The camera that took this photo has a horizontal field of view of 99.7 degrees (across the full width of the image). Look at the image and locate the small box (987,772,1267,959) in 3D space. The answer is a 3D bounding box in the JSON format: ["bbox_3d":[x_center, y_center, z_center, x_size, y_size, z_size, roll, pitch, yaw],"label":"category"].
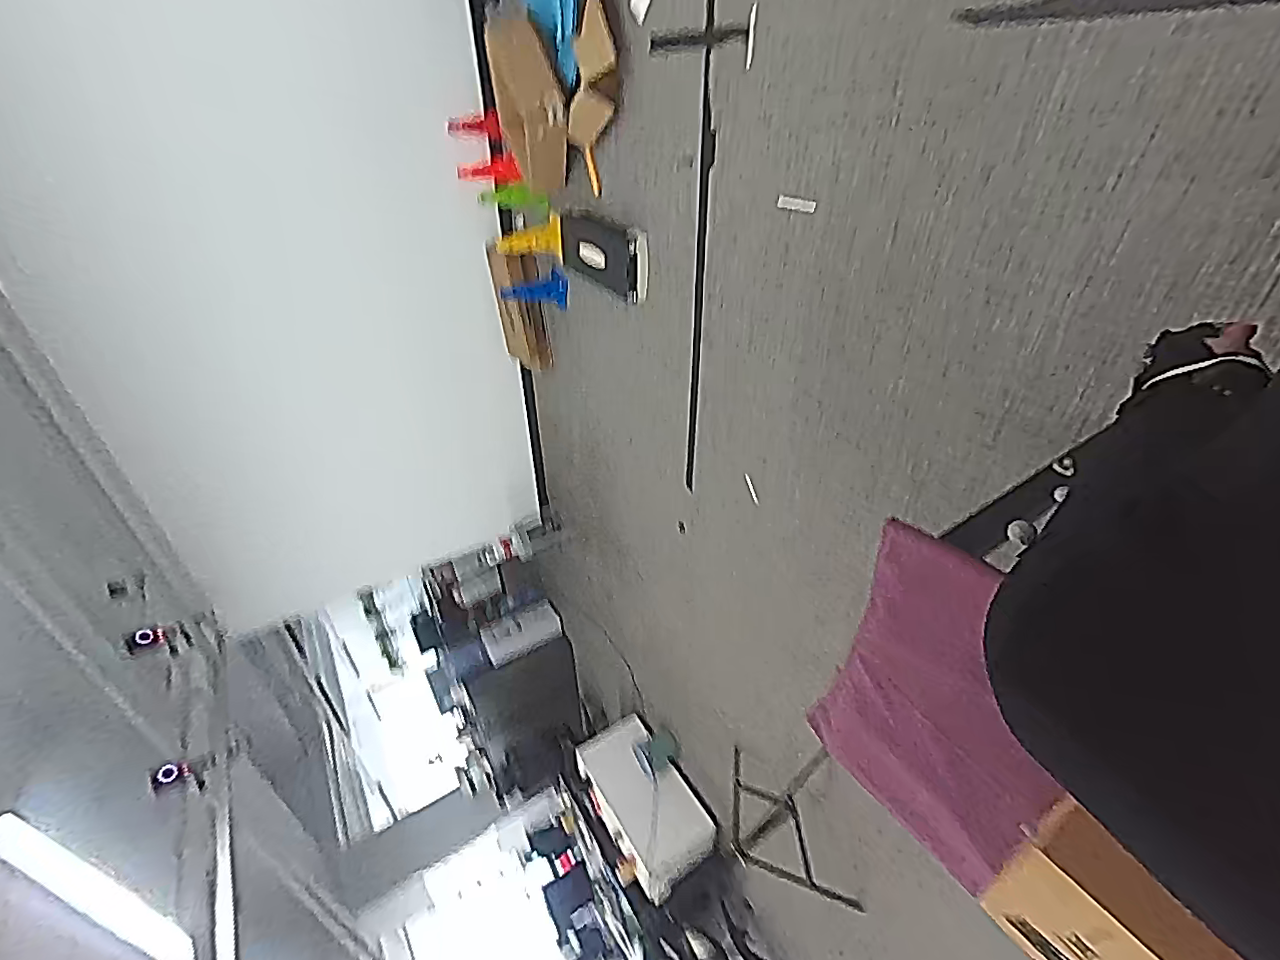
[{"bbox_3d":[0.564,0.494,0.637,0.168,0.176,0.179,41,142,42],"label":"small box"}]
